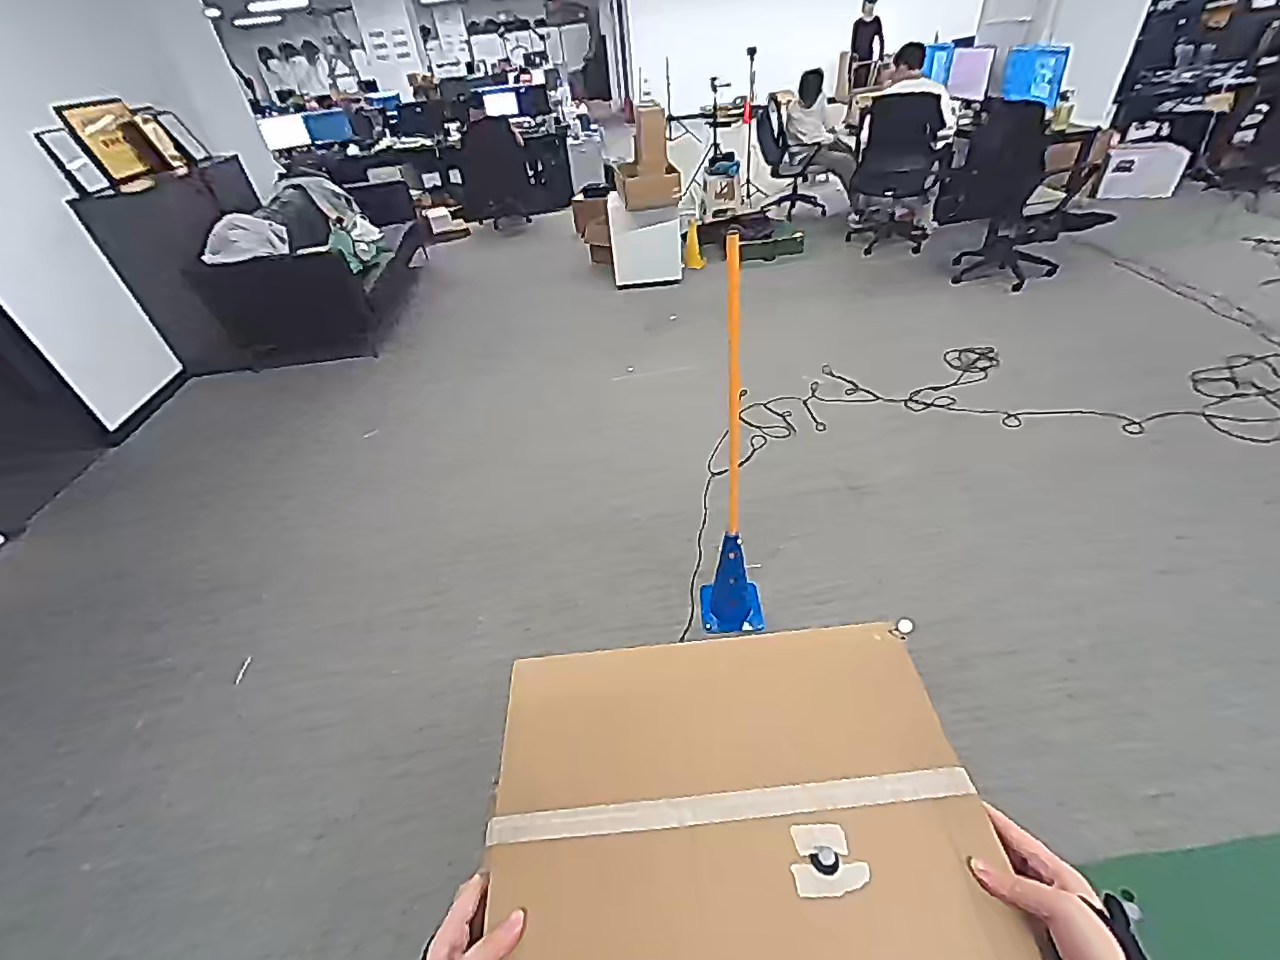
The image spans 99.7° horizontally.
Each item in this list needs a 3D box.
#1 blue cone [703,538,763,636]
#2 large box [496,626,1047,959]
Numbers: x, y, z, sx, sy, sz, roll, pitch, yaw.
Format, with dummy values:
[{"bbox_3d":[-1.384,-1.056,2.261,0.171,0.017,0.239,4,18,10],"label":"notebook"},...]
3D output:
[{"bbox_3d":[0.296,0.320,1.730,0.193,0.380,0.192,-3,40,5],"label":"blue cone"},{"bbox_3d":[0.091,0.389,0.568,0.408,0.320,0.320,-5,44,0],"label":"large box"}]
